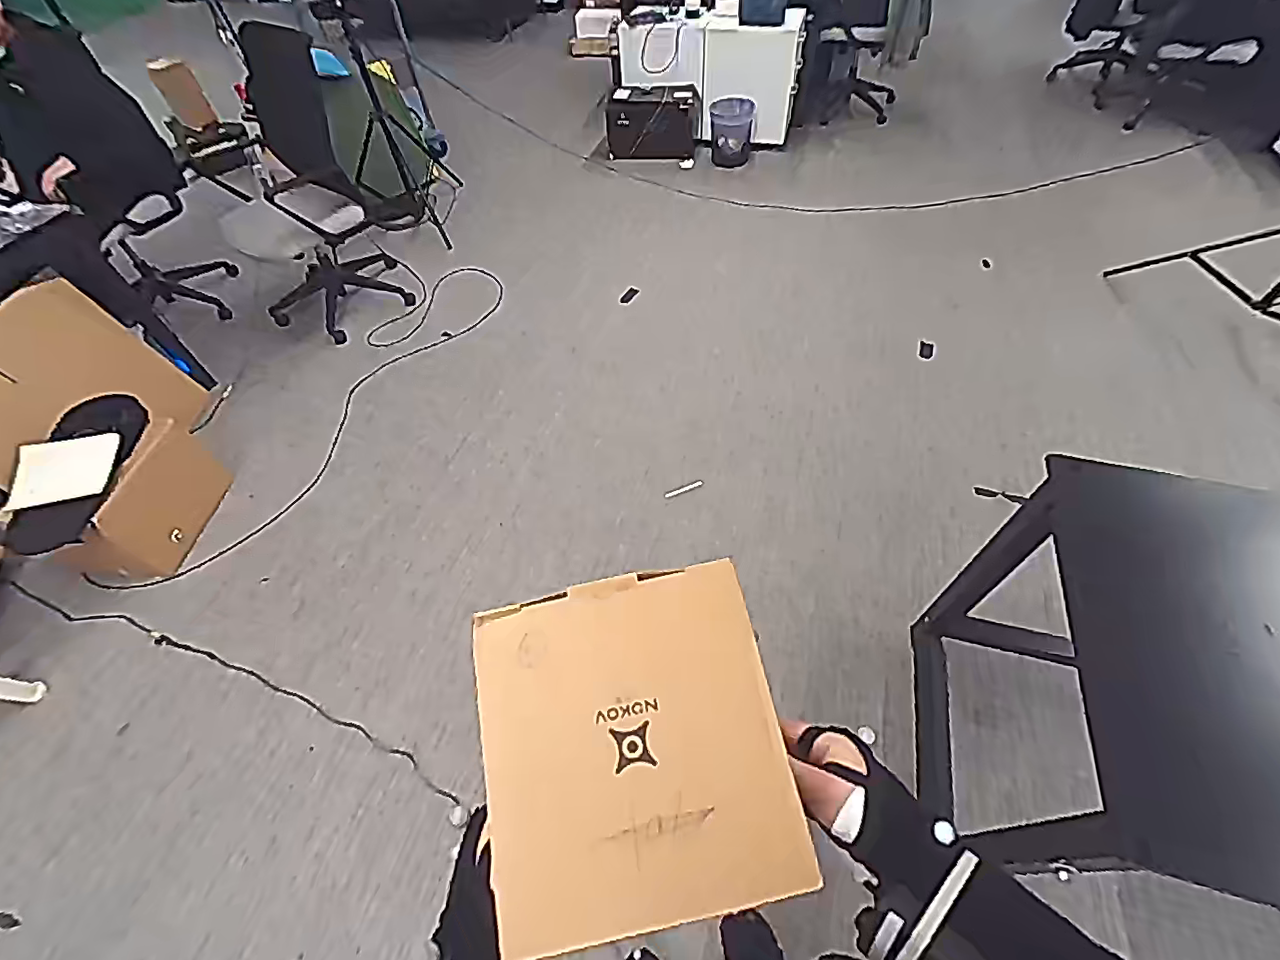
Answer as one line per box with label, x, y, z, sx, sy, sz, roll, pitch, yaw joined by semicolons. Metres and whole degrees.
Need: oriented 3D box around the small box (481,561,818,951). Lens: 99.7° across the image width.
small box;0.000;0.175;0.383;0.168;0.176;0.179;-13;69;-2
